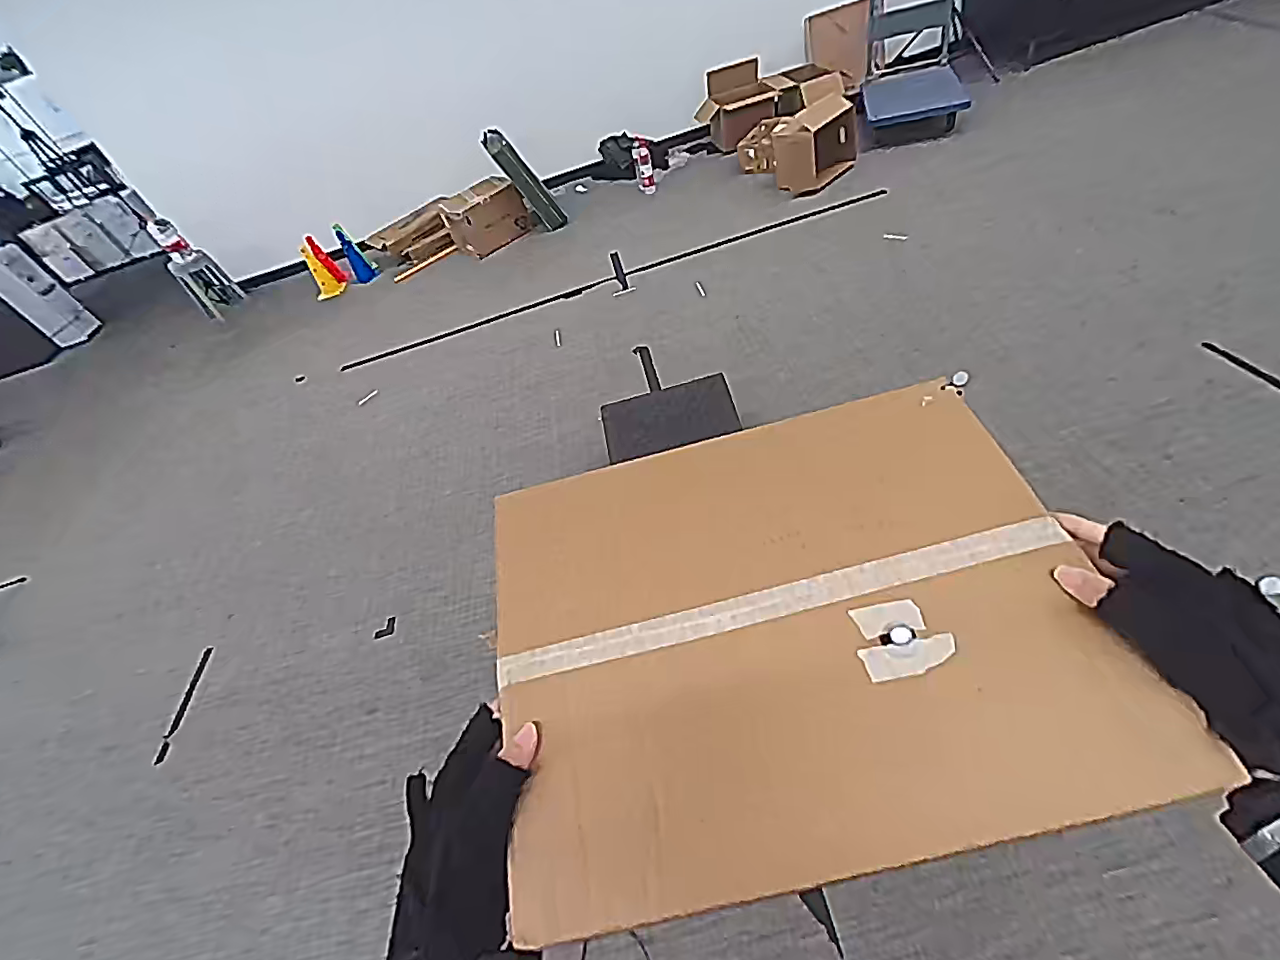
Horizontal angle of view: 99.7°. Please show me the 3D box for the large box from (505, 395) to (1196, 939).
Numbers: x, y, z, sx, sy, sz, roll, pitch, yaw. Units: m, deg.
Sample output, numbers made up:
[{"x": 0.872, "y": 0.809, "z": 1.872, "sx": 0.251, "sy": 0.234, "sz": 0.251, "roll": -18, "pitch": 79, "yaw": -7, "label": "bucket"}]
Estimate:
[{"x": 0.122, "y": 0.179, "z": 0.517, "sx": 0.408, "sy": 0.320, "sz": 0.320, "roll": -15, "pitch": 55, "yaw": 2, "label": "large box"}]
